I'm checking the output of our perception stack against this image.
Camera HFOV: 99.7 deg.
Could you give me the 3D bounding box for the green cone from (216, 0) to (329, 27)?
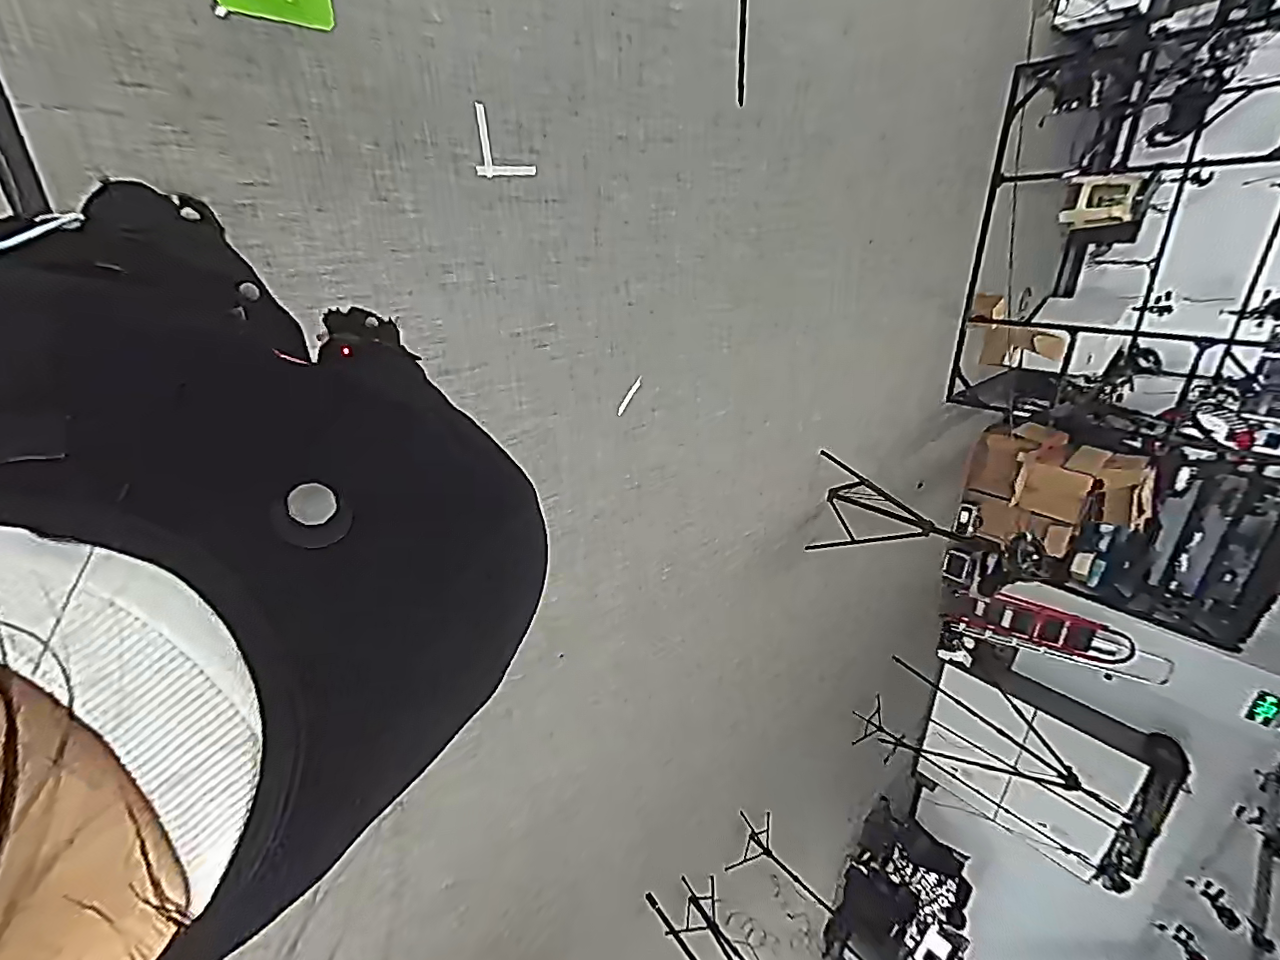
[{"bbox_3d":[-0.586,-0.926,0.878,0.202,0.368,0.200,-21,121,-38],"label":"green cone"}]
